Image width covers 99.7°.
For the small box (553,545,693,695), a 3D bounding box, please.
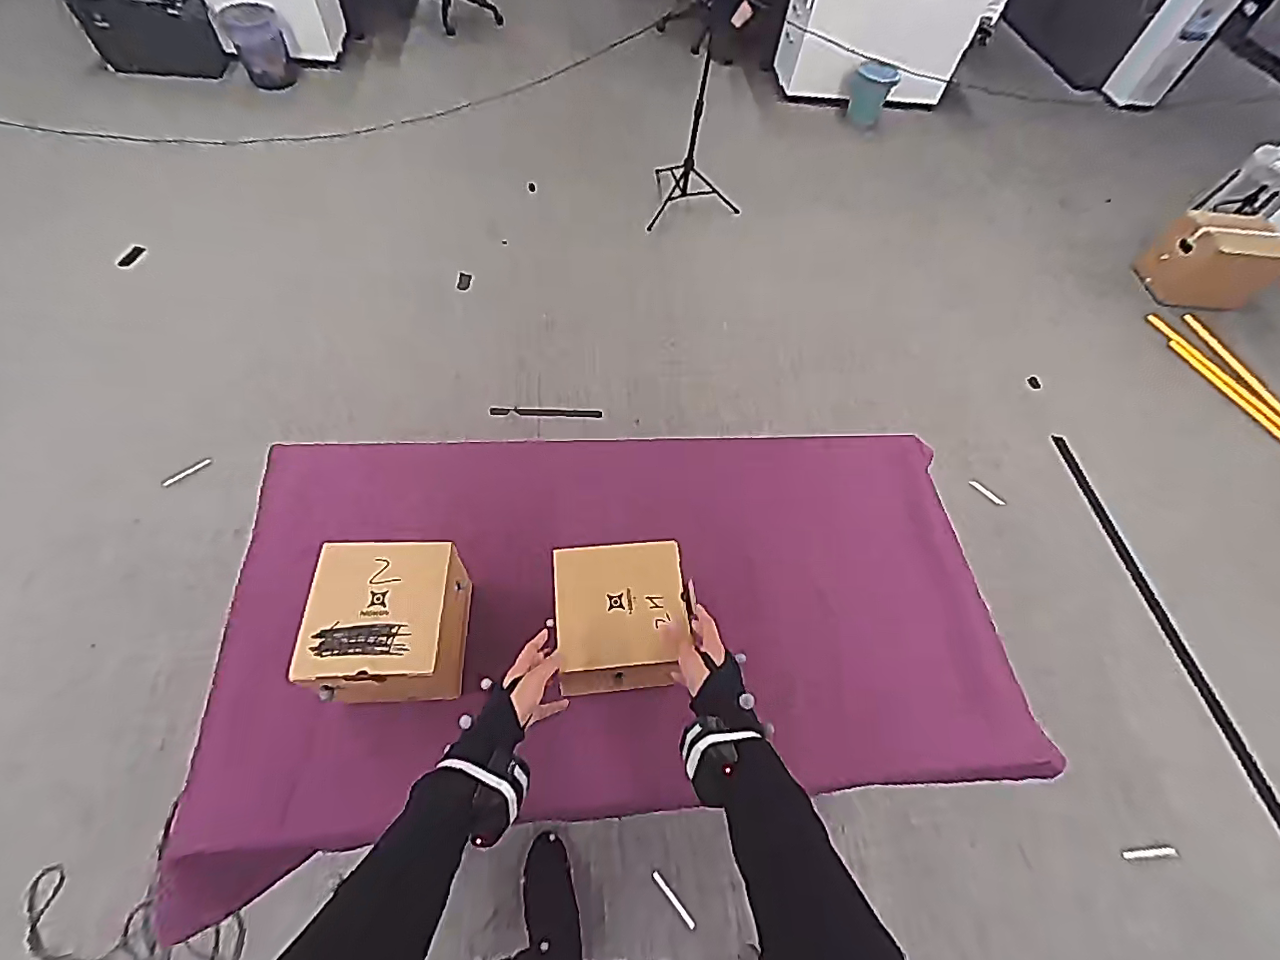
[{"bbox_3d":[-0.032,0.206,0.783,0.179,0.176,0.168,-2,59,-9],"label":"small box"}]
